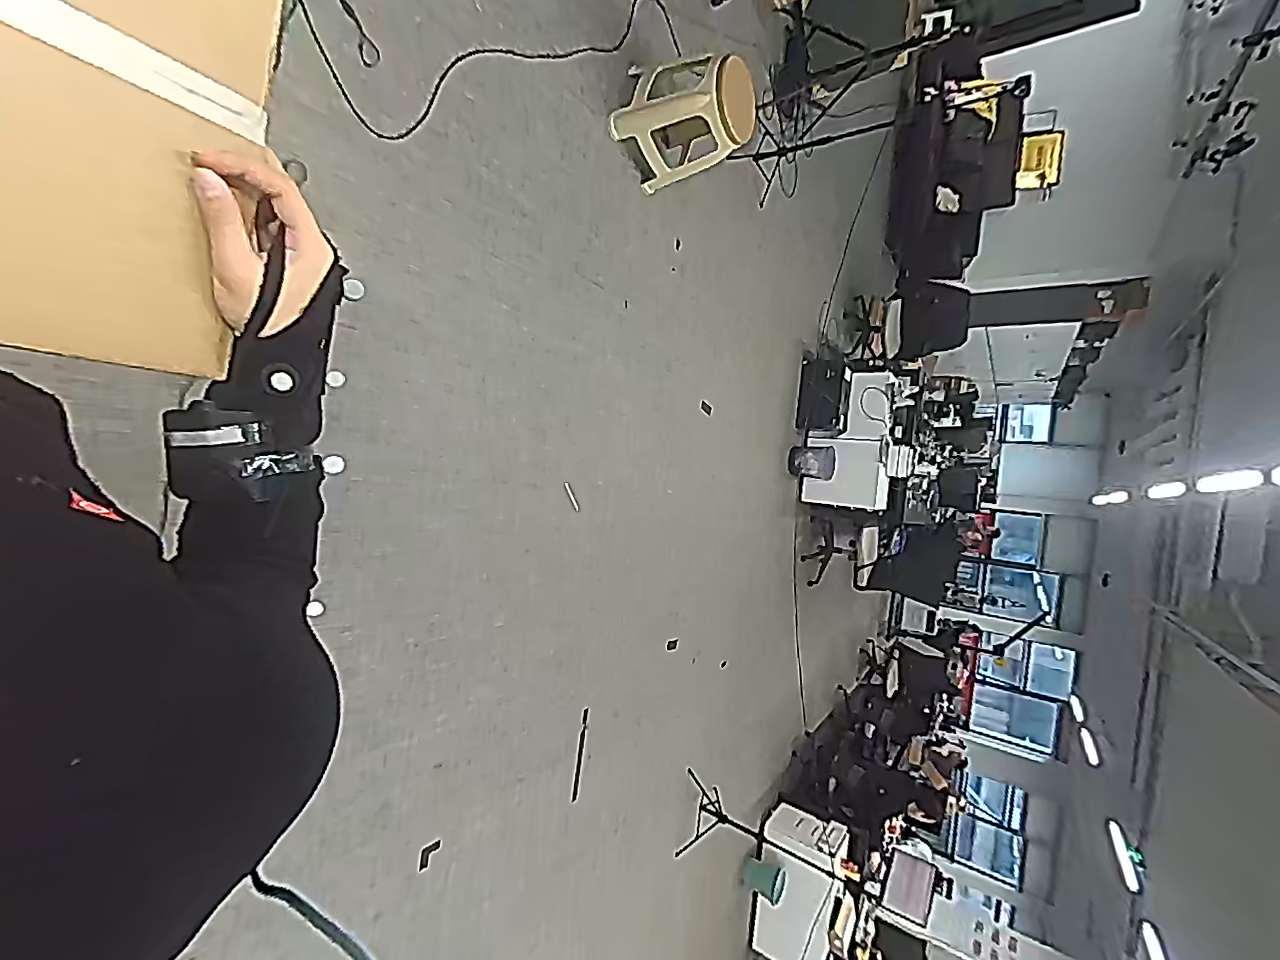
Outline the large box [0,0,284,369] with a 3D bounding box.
[{"bbox_3d":[-0.470,-0.260,0.266,0.408,0.320,0.320,4,102,-55],"label":"large box"}]
